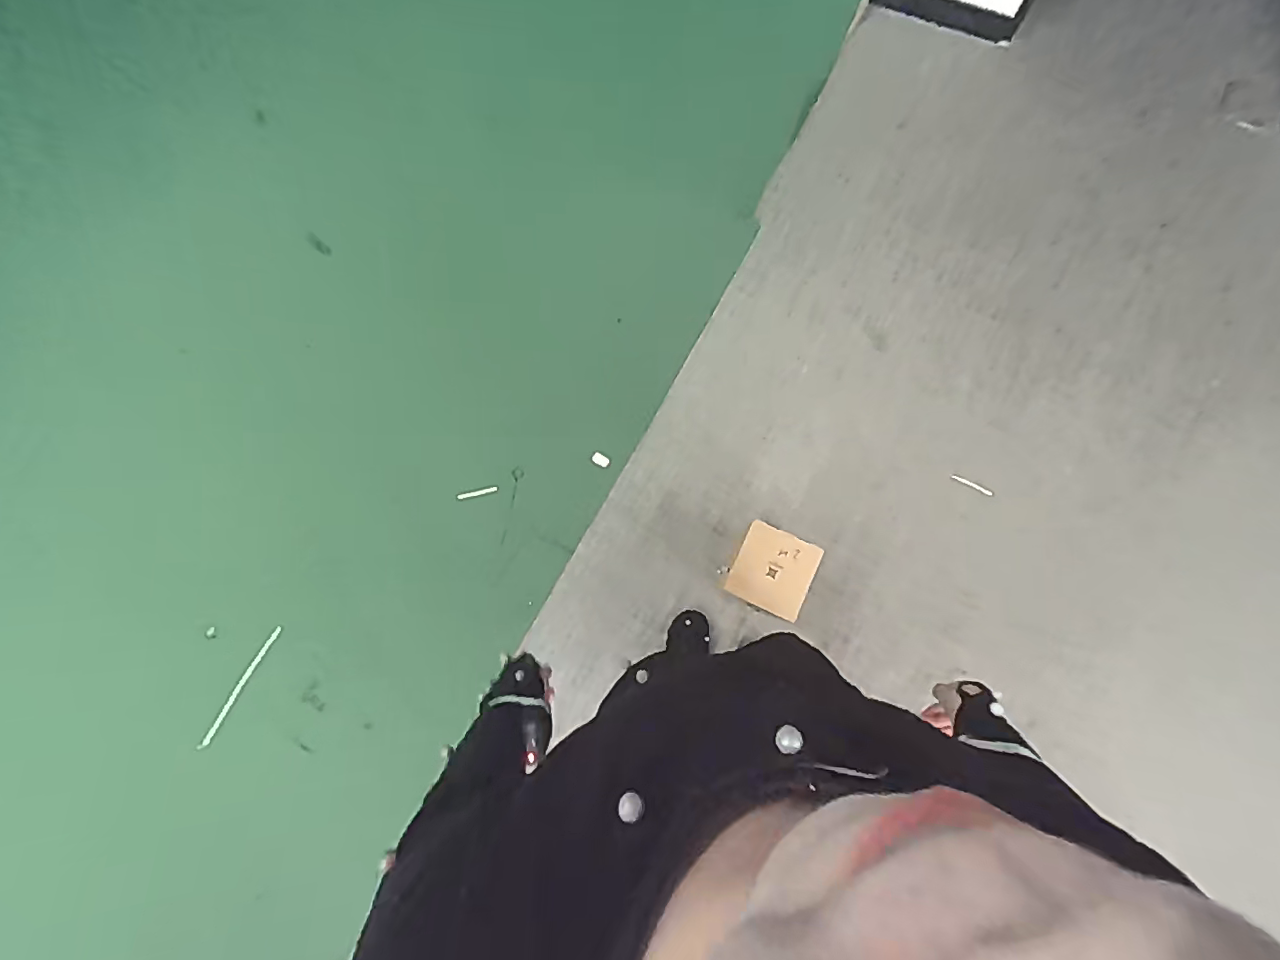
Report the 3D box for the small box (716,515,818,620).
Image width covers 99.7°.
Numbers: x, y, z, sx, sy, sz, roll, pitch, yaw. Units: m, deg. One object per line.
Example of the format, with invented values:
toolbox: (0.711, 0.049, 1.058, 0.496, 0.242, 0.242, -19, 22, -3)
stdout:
small box: (0.284, 0.203, 1.248, 0.168, 0.176, 0.179, 26, 81, 8)
